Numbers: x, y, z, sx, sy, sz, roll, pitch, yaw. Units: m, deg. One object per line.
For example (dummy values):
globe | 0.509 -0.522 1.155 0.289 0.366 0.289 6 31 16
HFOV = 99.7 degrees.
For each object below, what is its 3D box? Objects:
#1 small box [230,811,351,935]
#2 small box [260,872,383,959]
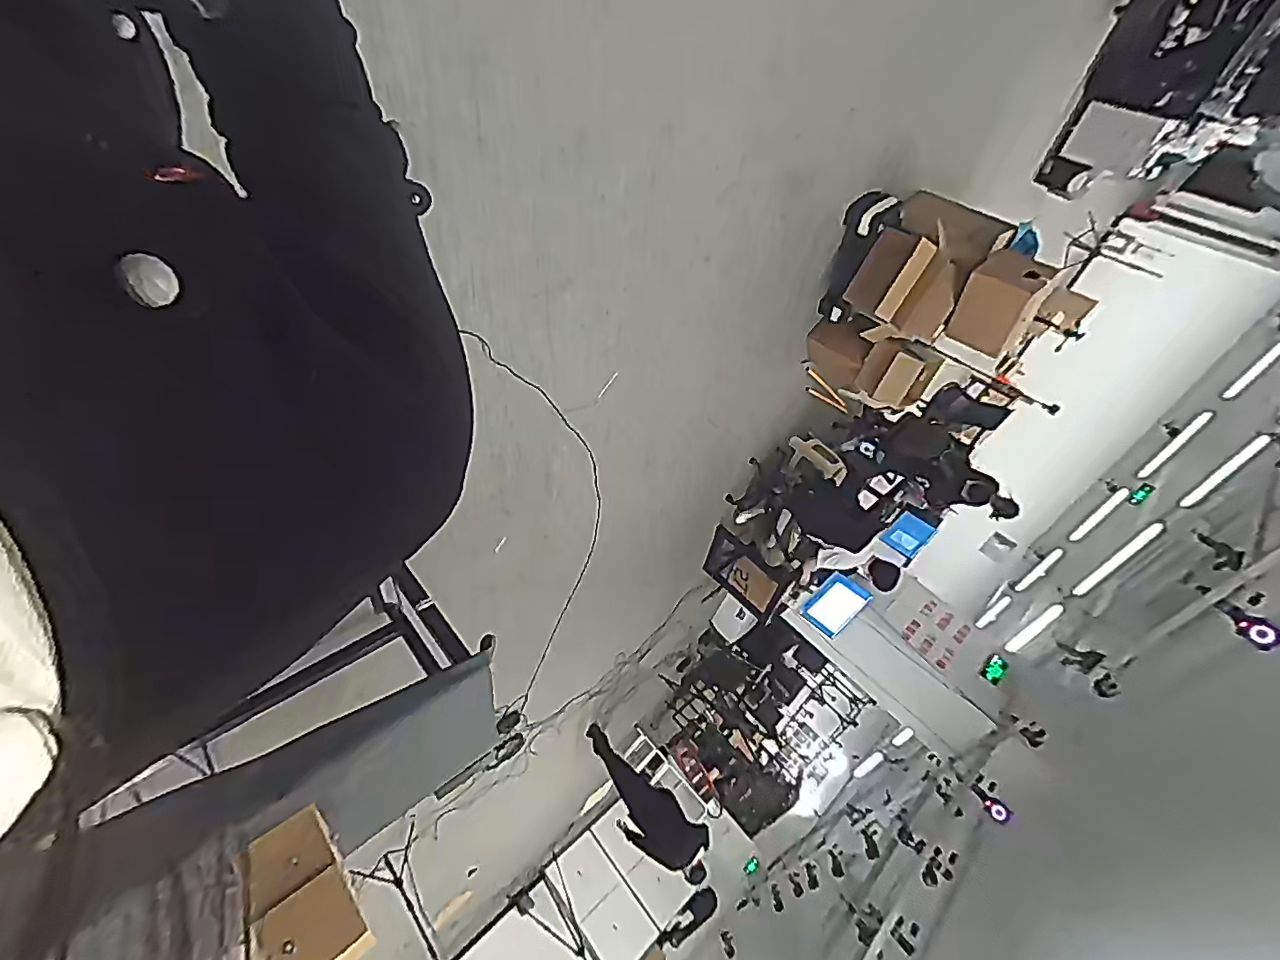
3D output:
small box | -0.829 0.936 1.292 0.179 0.176 0.168 -29 148 -34
small box | -0.702 1.020 1.190 0.179 0.176 0.168 -29 147 -33
